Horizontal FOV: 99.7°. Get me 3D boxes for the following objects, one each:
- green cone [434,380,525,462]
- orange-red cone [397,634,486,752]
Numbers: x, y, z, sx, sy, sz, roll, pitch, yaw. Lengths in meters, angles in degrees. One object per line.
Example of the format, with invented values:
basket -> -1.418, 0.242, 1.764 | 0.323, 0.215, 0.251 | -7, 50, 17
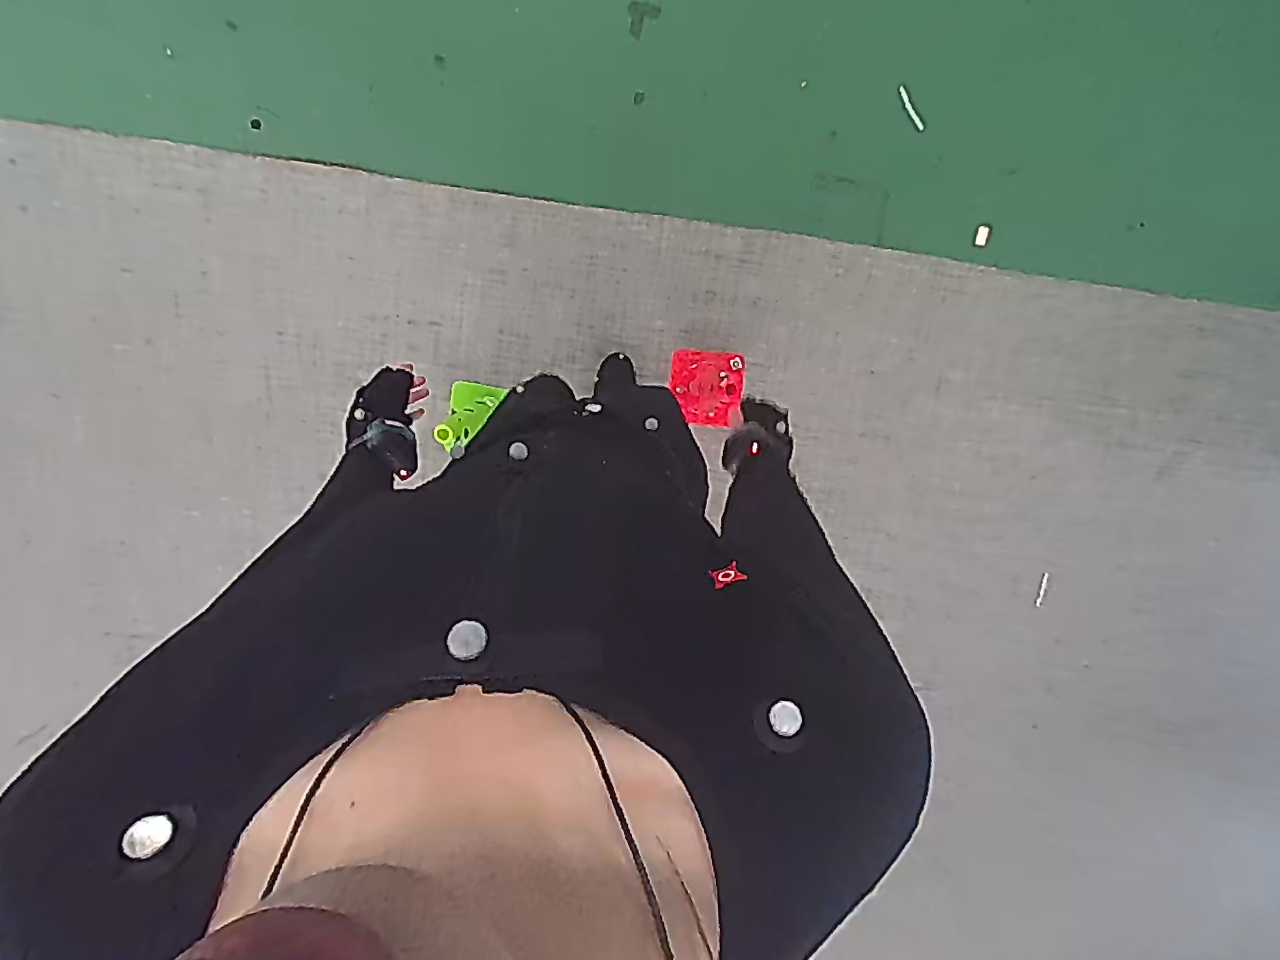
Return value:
green cone -> -0.417, -0.126, 1.297 | 0.200, 0.368, 0.202 | 9, 101, -3
orange-red cone -> -0.554, 0.582, 1.419 | 0.198, 0.360, 0.199 | 11, 98, -5
